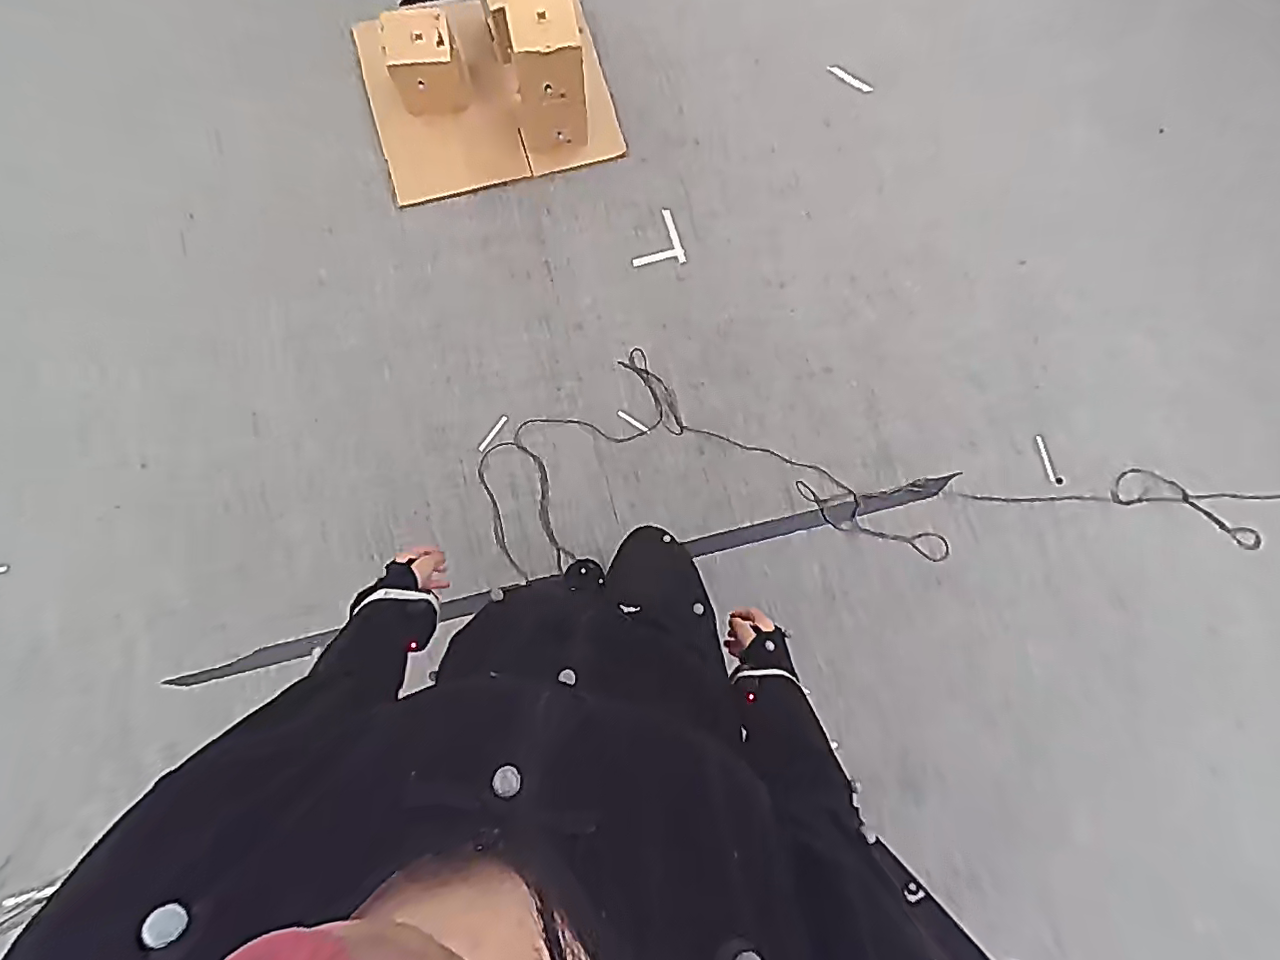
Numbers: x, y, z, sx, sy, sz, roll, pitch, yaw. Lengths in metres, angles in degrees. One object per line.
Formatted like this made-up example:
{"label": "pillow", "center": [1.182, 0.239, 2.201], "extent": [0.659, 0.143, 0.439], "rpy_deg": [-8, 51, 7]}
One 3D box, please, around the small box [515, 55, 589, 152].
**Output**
{"label": "small box", "center": [-0.246, -1.087, 1.547], "extent": [0.168, 0.176, 0.179], "rpy_deg": [-15, 85, -4]}

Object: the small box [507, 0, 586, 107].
{"label": "small box", "center": [-0.235, -1.105, 1.385], "extent": [0.168, 0.176, 0.179], "rpy_deg": [-12, 85, -4]}

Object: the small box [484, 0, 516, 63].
{"label": "small box", "center": [-0.353, -1.375, 1.576], "extent": [0.179, 0.176, 0.168], "rpy_deg": [-20, 83, -6]}

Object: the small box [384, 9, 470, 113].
{"label": "small box", "center": [-0.600, -1.182, 1.536], "extent": [0.179, 0.176, 0.168], "rpy_deg": [-7, 84, -2]}
